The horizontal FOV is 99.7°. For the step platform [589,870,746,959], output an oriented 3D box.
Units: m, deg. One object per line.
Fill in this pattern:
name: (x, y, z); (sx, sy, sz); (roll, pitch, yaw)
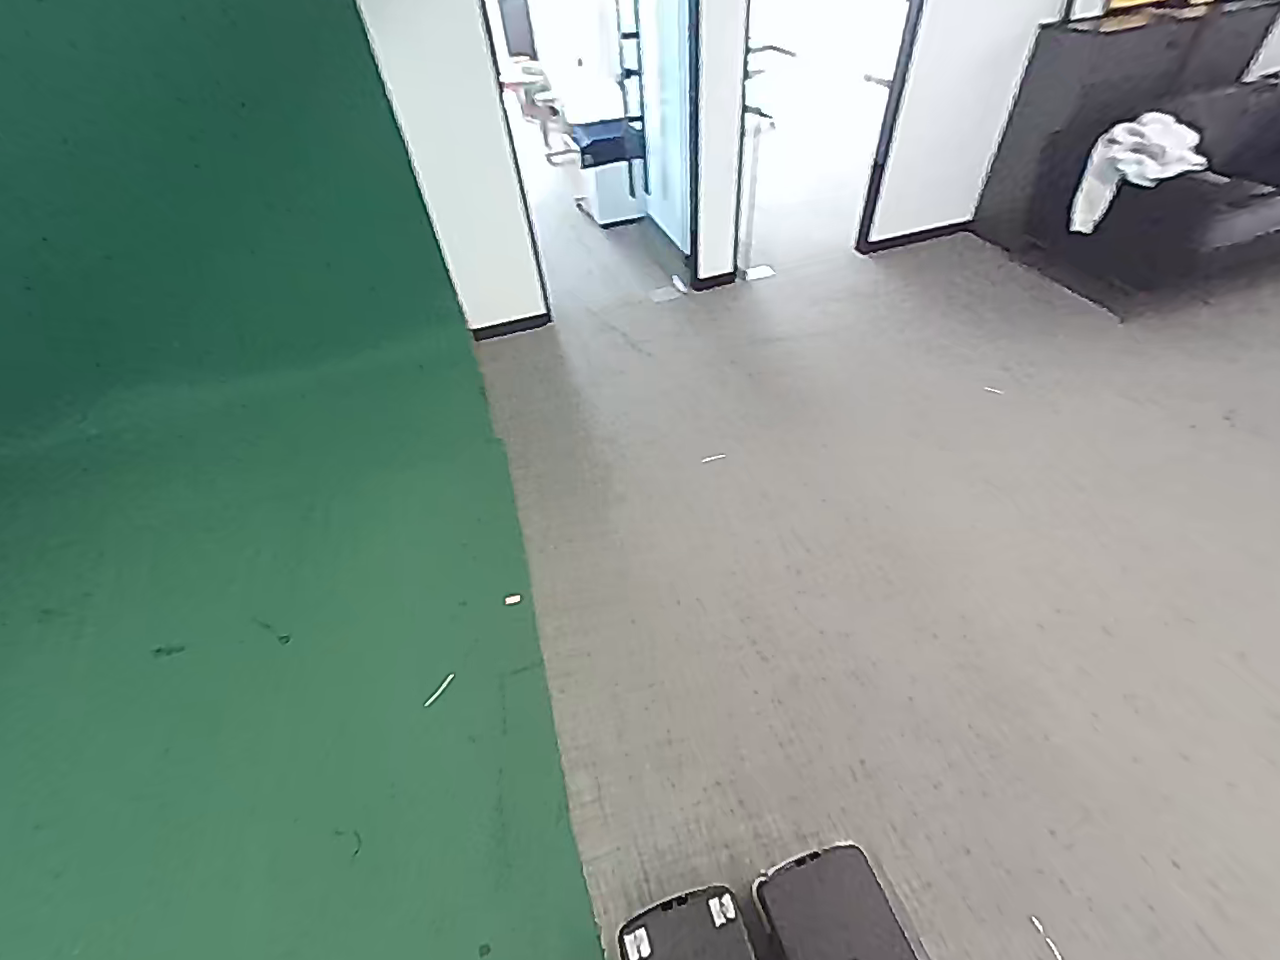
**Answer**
step platform: (0.129, 1.071, 0.878); (0.286, 0.204, 0.684); (-15, 48, -10)
